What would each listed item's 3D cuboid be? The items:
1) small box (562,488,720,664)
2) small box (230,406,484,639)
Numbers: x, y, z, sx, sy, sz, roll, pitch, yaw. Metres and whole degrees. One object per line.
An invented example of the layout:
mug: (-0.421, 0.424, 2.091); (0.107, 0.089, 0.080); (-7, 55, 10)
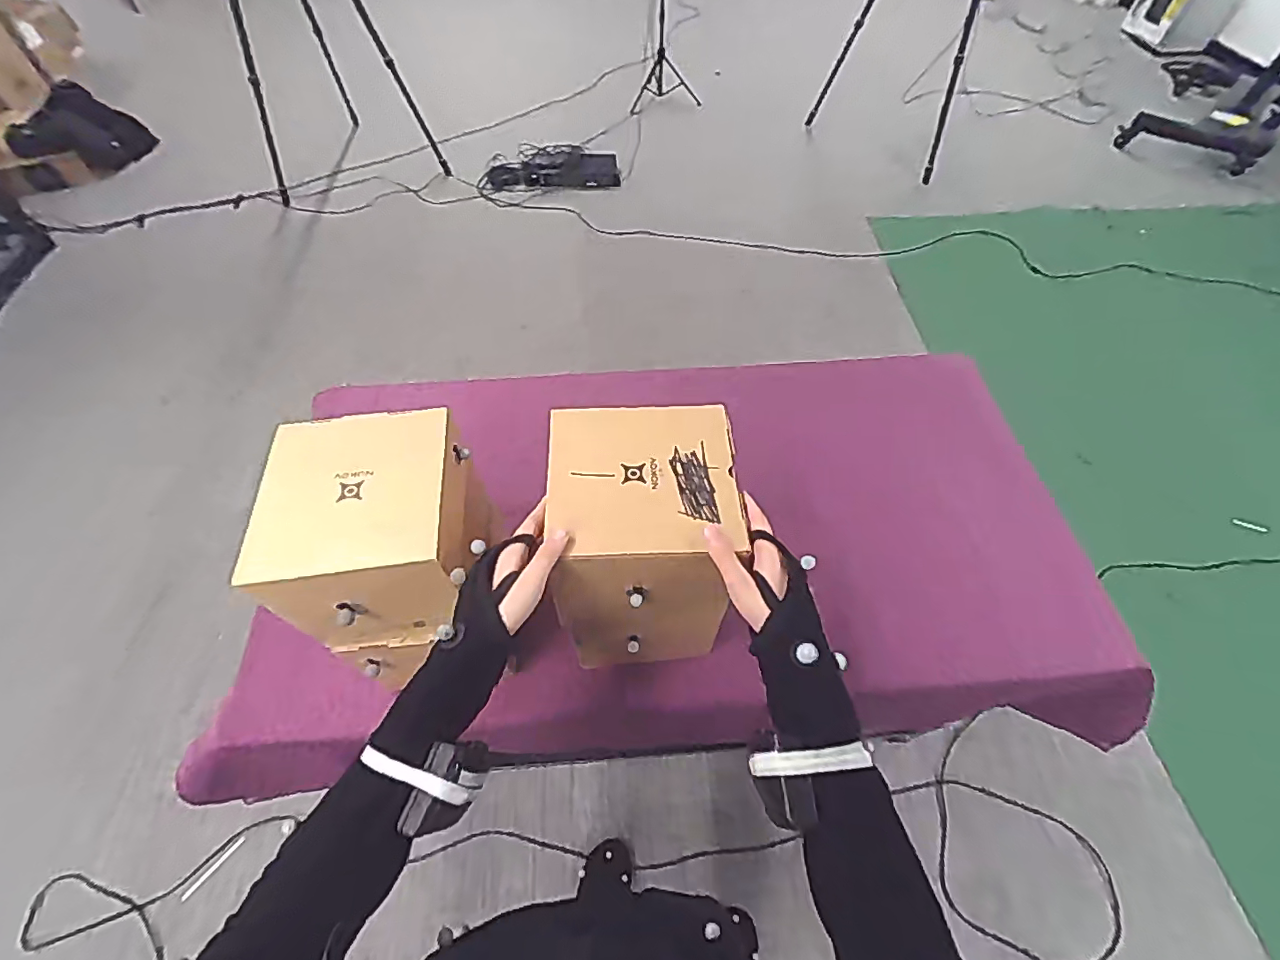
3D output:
small box: (-0.002, 0.129, 0.699); (0.179, 0.176, 0.168); (-5, 56, -3)
small box: (-0.264, 0.052, 0.556); (0.168, 0.176, 0.179); (-7, 54, -4)
